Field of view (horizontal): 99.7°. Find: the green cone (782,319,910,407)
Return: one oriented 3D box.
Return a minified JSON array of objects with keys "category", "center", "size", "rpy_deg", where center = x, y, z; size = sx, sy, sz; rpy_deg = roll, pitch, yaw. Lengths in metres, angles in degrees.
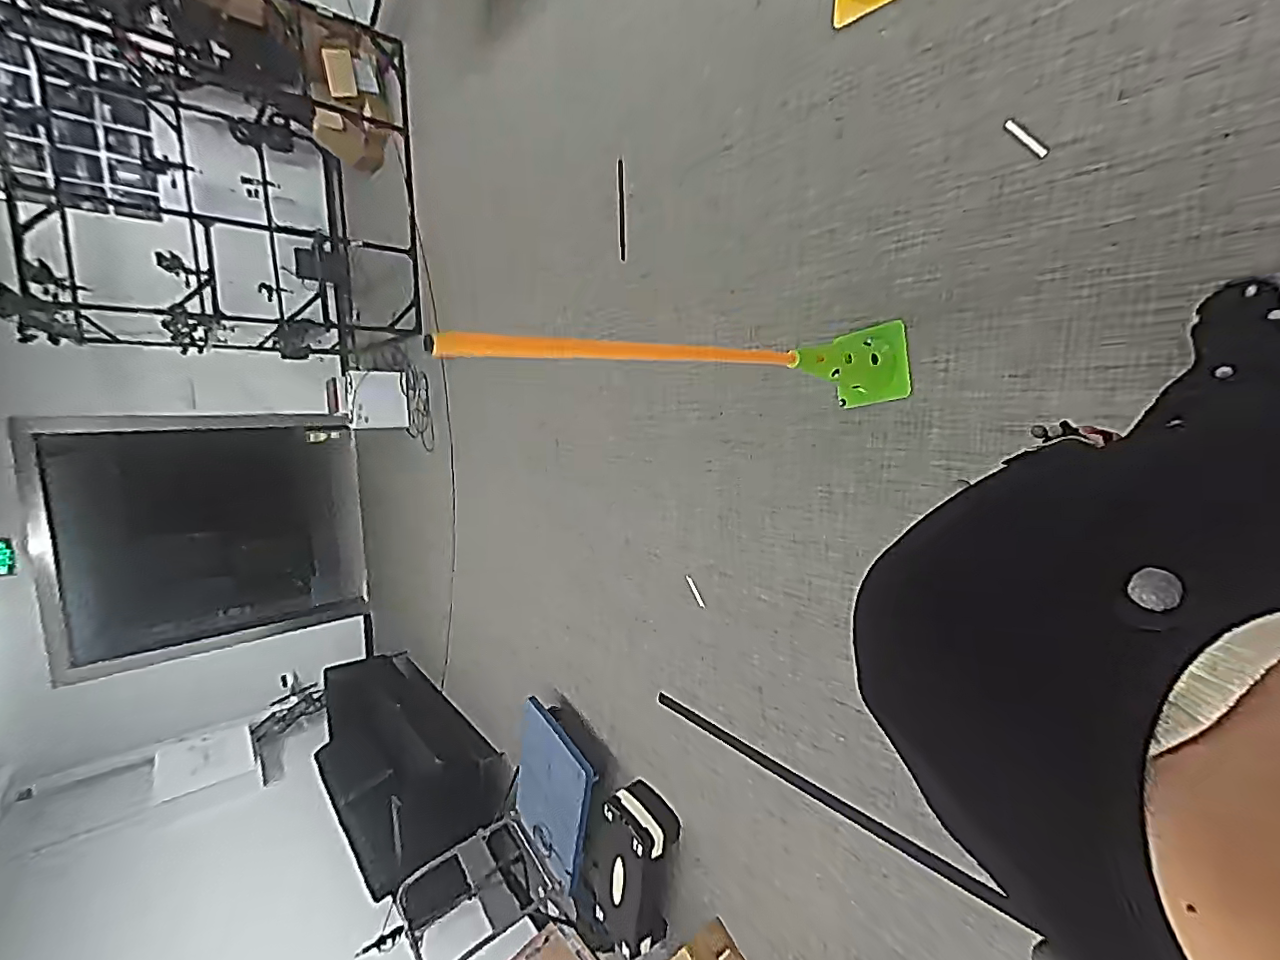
[{"category":"green cone","center":[0.476,-0.293,1.322],"size":[0.200,0.368,0.202],"rpy_deg":[-7,88,51]}]
